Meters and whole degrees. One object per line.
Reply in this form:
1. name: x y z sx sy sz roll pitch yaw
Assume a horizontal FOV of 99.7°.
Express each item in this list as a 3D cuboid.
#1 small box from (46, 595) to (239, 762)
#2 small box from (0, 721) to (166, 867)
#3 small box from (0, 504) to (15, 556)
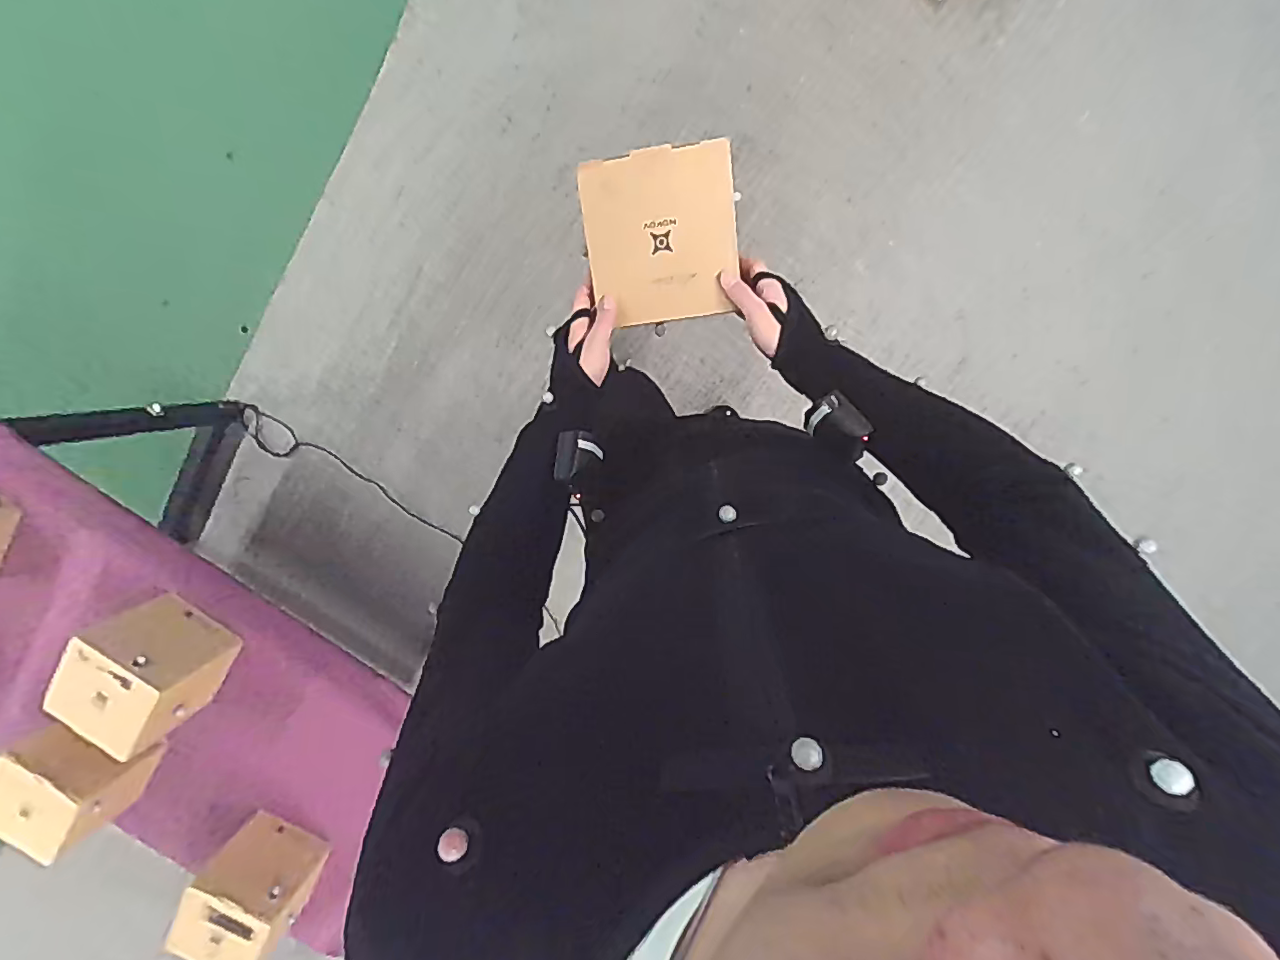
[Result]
1. small box: -0.864 0.341 0.956 0.168 0.176 0.179 35 105 -4
2. small box: -1.068 0.569 1.029 0.168 0.176 0.179 34 102 -2
3. small box: -1.266 0.093 0.936 0.168 0.176 0.179 38 105 -4
